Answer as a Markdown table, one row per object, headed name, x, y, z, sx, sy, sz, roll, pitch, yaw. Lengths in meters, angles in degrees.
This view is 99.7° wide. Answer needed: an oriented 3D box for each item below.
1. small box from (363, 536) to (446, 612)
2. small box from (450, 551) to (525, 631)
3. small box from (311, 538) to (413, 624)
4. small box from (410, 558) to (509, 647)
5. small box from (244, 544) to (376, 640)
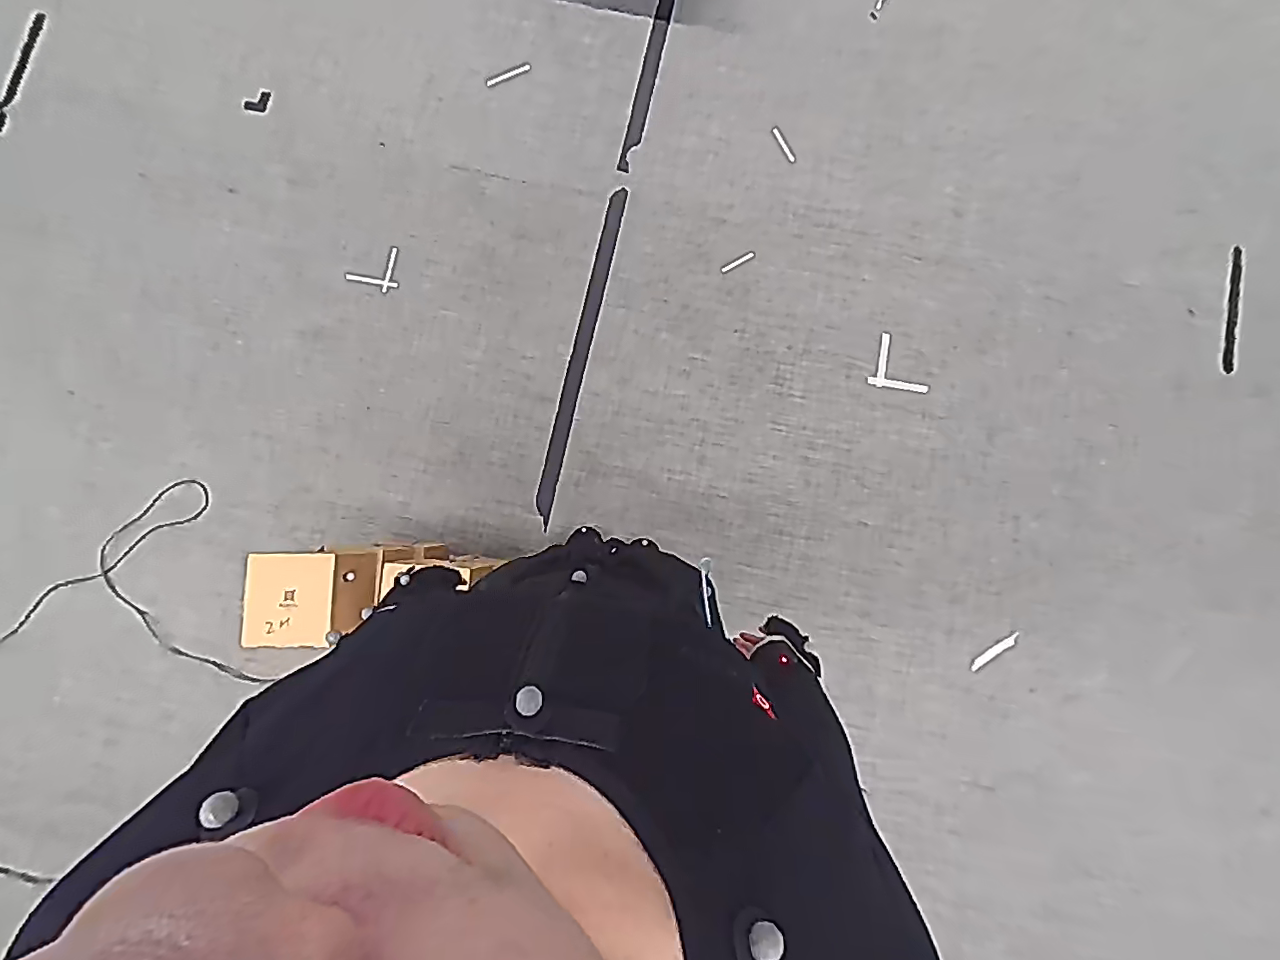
| name | x | y | z | sx | sy | sz | roll | pitch | yaw |
| --- | --- | --- | --- | --- | --- | --- | --- | --- | --- |
| small box | -0.623 | 0.242 | 1.422 | 0.168 | 0.176 | 0.179 | 3 | 85 | 0 |
| small box | -0.410 | 0.285 | 1.421 | 0.168 | 0.176 | 0.179 | 10 | 86 | 1 |
| small box | -0.648 | 0.229 | 1.258 | 0.168 | 0.176 | 0.179 | 4 | 84 | 0 |
| small box | -0.410 | 0.276 | 1.257 | 0.168 | 0.176 | 0.179 | 6 | 84 | 1 |
| small box | -0.654 | 0.220 | 1.093 | 0.168 | 0.176 | 0.179 | 1 | 85 | 0 |
